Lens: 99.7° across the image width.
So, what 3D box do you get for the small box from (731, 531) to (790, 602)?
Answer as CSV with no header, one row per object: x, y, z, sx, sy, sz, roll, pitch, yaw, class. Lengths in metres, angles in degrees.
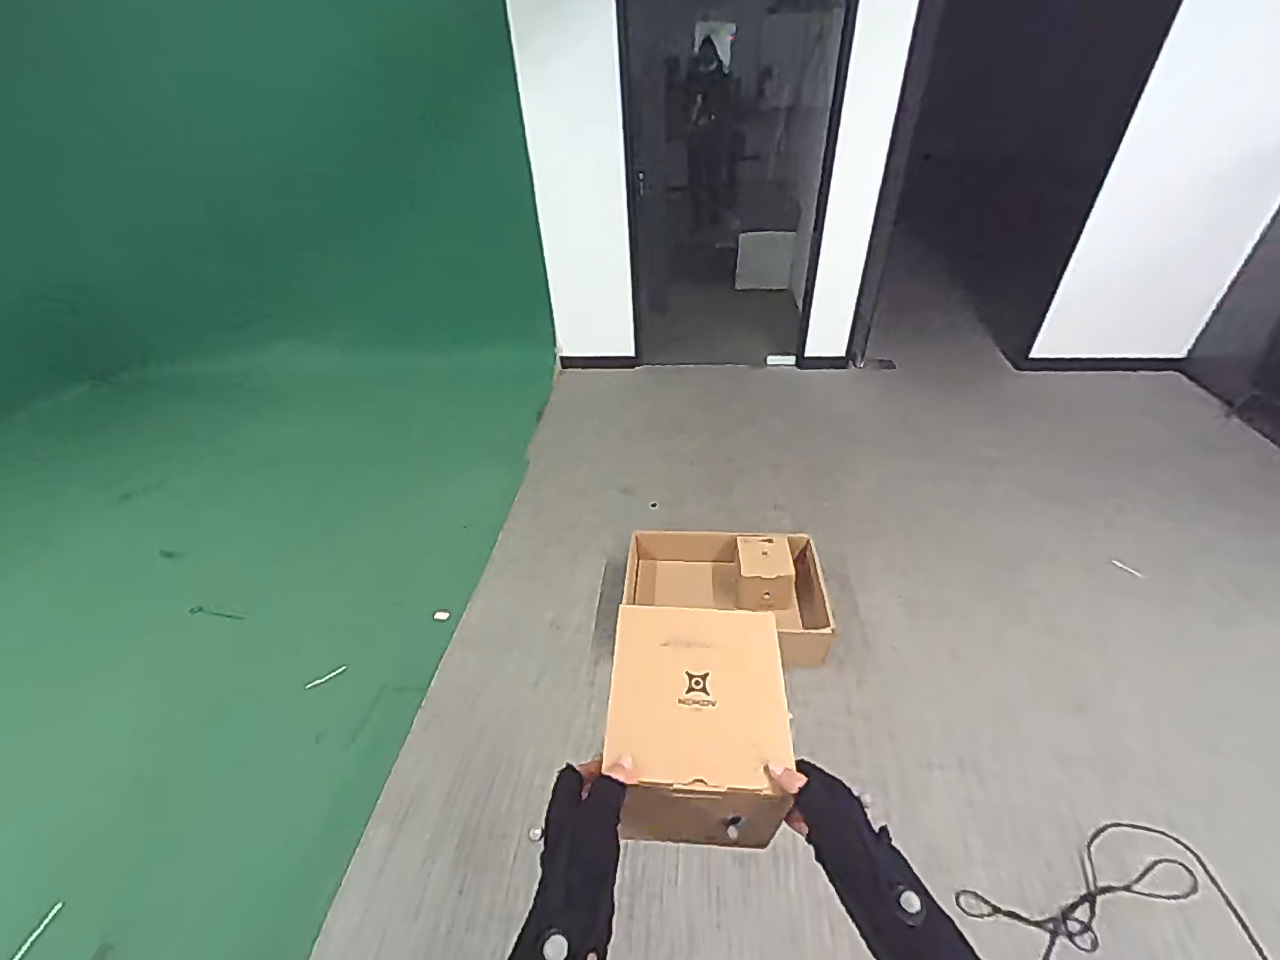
0.392,0.289,1.778,0.168,0.176,0.179,-3,39,3,small box

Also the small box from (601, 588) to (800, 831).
0.056,0.235,0.552,0.168,0.176,0.179,3,43,3,small box
